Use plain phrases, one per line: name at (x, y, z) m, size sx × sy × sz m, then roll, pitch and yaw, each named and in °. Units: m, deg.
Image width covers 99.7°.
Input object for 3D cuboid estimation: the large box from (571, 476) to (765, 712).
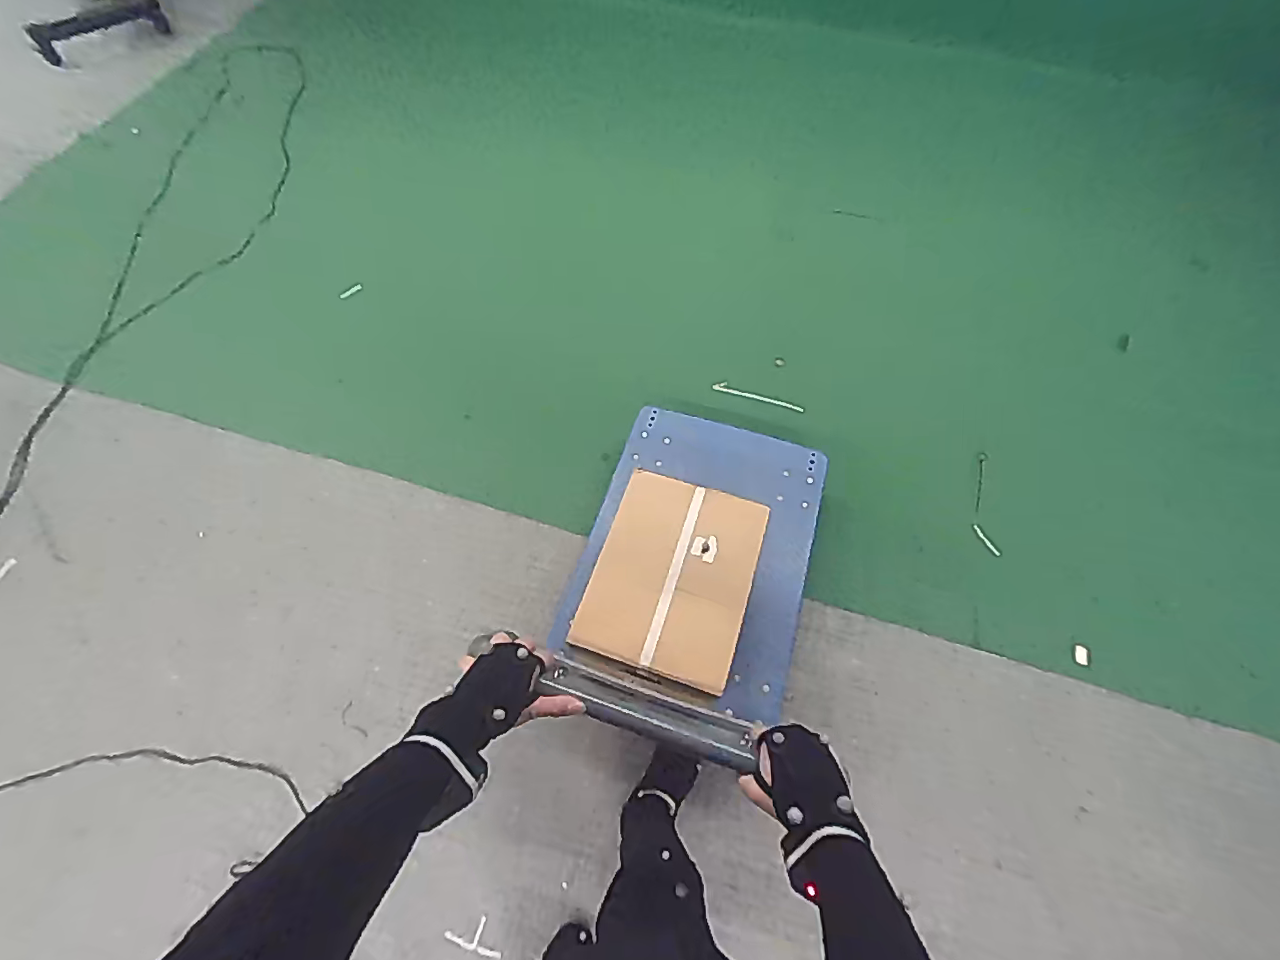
large box at (0.070, 0.266, 1.236) m, size 0.320 × 0.320 × 0.408 m, roll 17°, pitch 63°, yaw 9°
